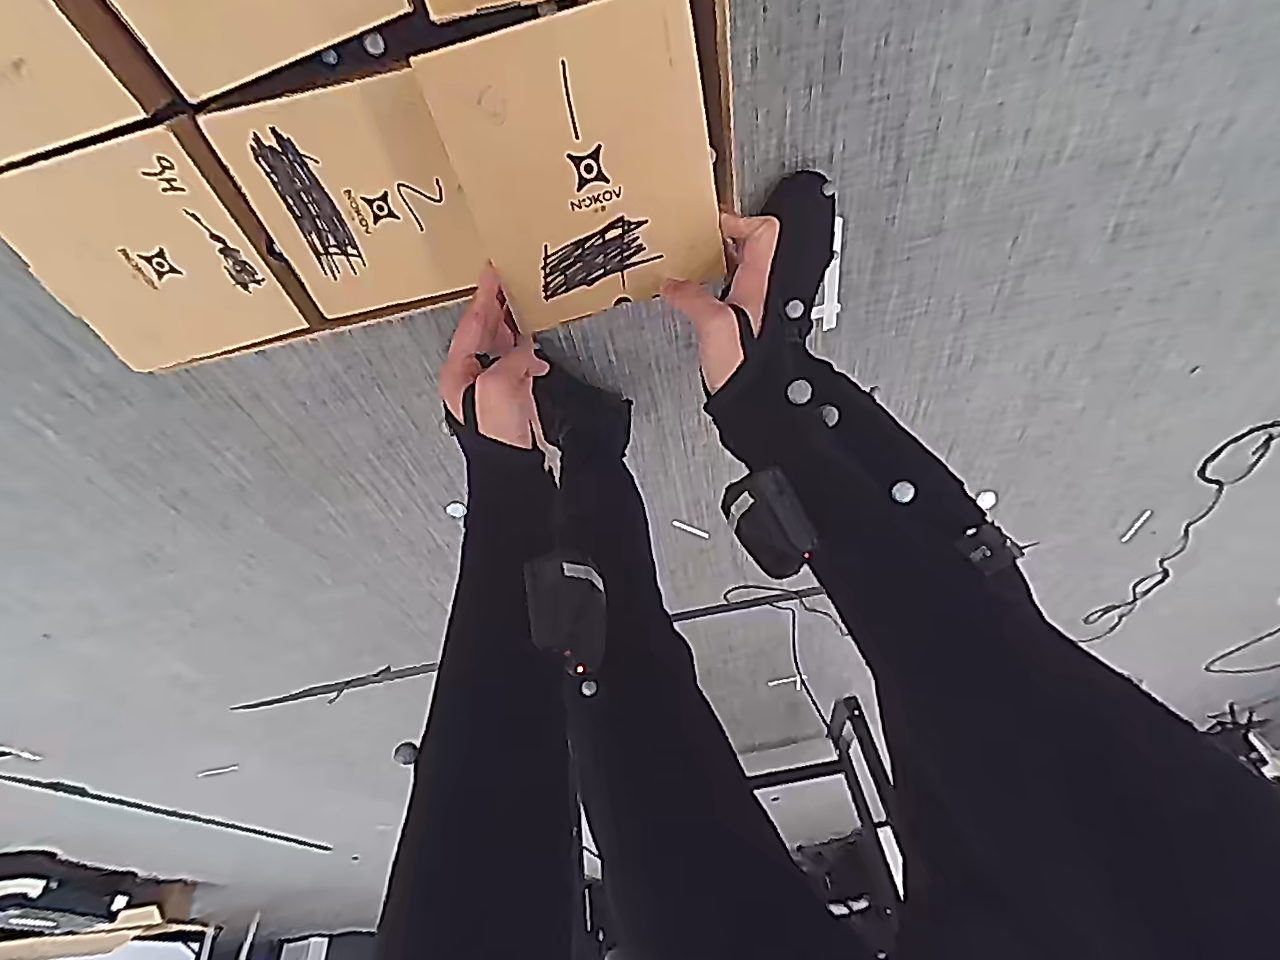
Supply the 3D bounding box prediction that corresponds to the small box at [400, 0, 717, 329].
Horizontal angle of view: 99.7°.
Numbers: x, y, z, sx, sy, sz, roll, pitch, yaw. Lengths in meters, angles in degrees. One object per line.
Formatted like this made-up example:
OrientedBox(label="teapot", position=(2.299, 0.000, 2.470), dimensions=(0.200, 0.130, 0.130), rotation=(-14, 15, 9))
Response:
OrientedBox(label="small box", position=(-0.049, -0.247, 0.414), dimensions=(0.168, 0.176, 0.179), rotation=(-16, 129, 2))
